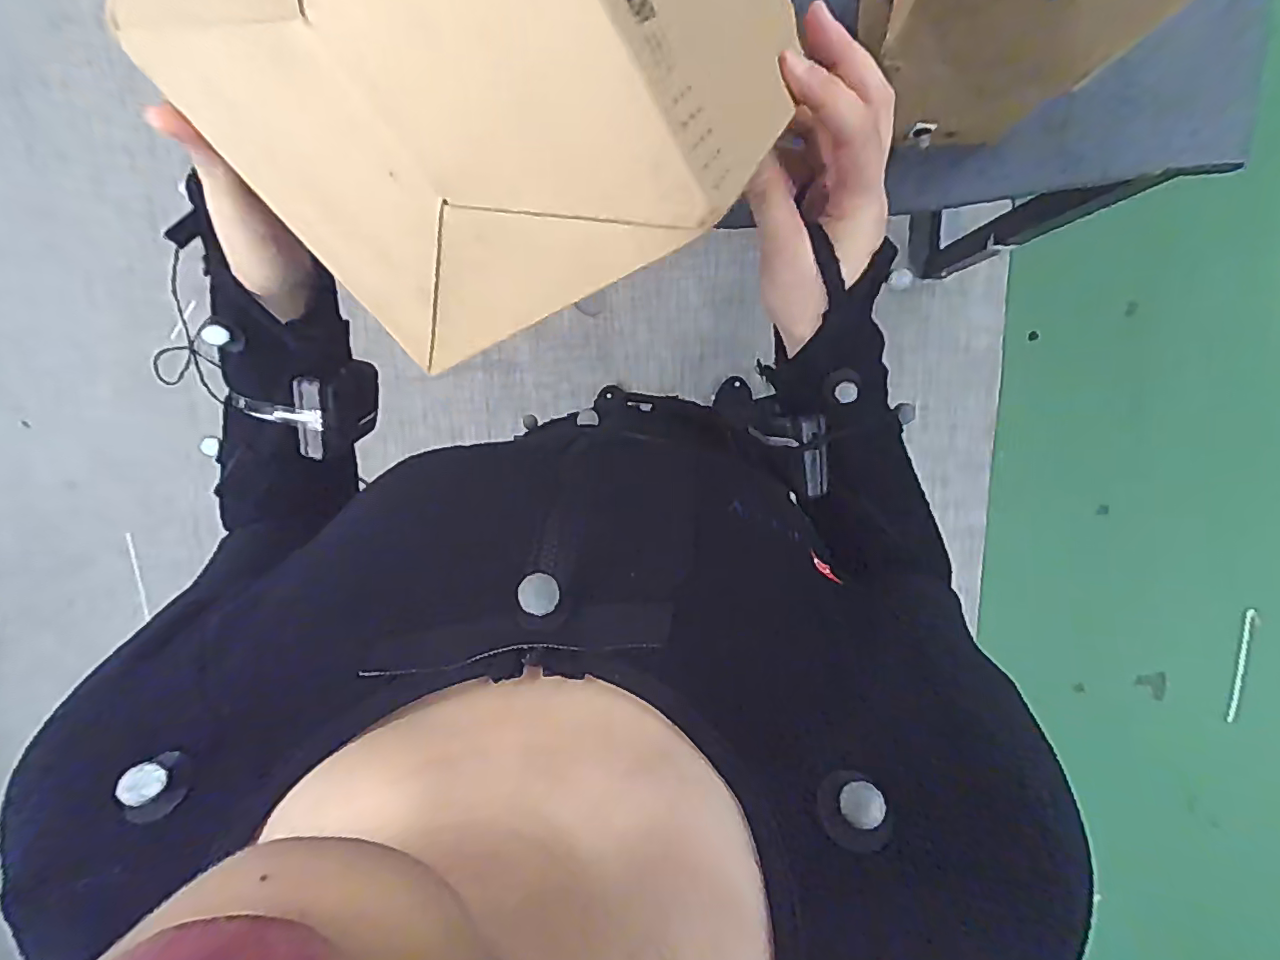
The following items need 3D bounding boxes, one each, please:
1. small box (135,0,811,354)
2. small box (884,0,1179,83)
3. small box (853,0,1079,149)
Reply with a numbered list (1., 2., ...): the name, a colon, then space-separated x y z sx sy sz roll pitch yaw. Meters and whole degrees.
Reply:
1. small box: -0.056 -0.178 0.227 0.179 0.176 0.168 -9 131 41
2. small box: 0.308 -0.426 0.389 0.179 0.176 0.168 12 100 5
3. small box: 0.325 -0.467 0.546 0.168 0.176 0.179 1 100 6
